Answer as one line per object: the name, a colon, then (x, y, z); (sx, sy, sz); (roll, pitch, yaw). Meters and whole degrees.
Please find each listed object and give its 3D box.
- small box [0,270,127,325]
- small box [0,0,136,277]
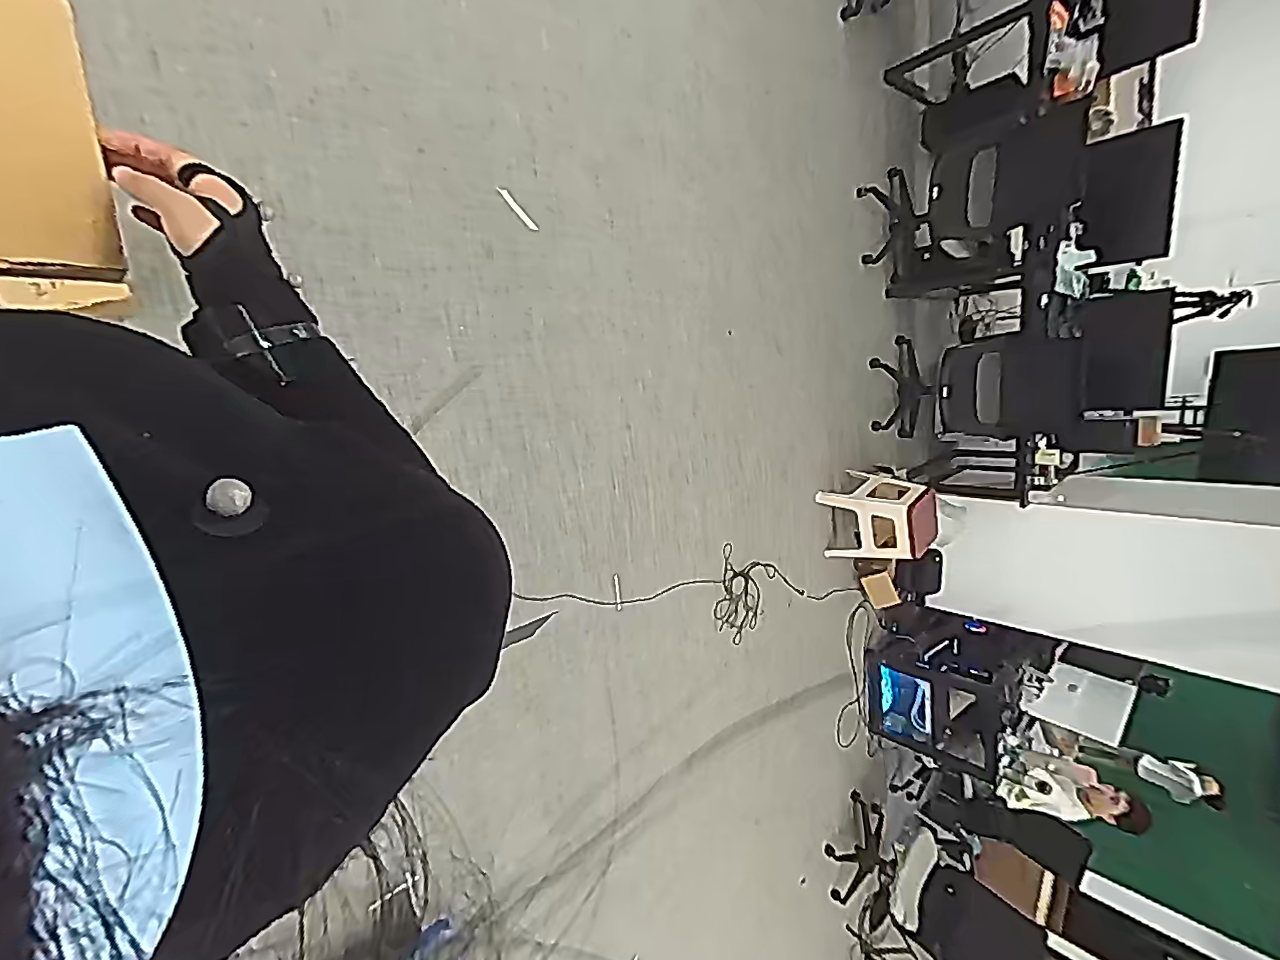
small box: (-1.058, -0.389, 0.959); (0.168, 0.176, 0.179); (-29, 113, -36)
small box: (-0.493, -0.247, 0.387); (0.168, 0.176, 0.179); (-13, 113, -42)
